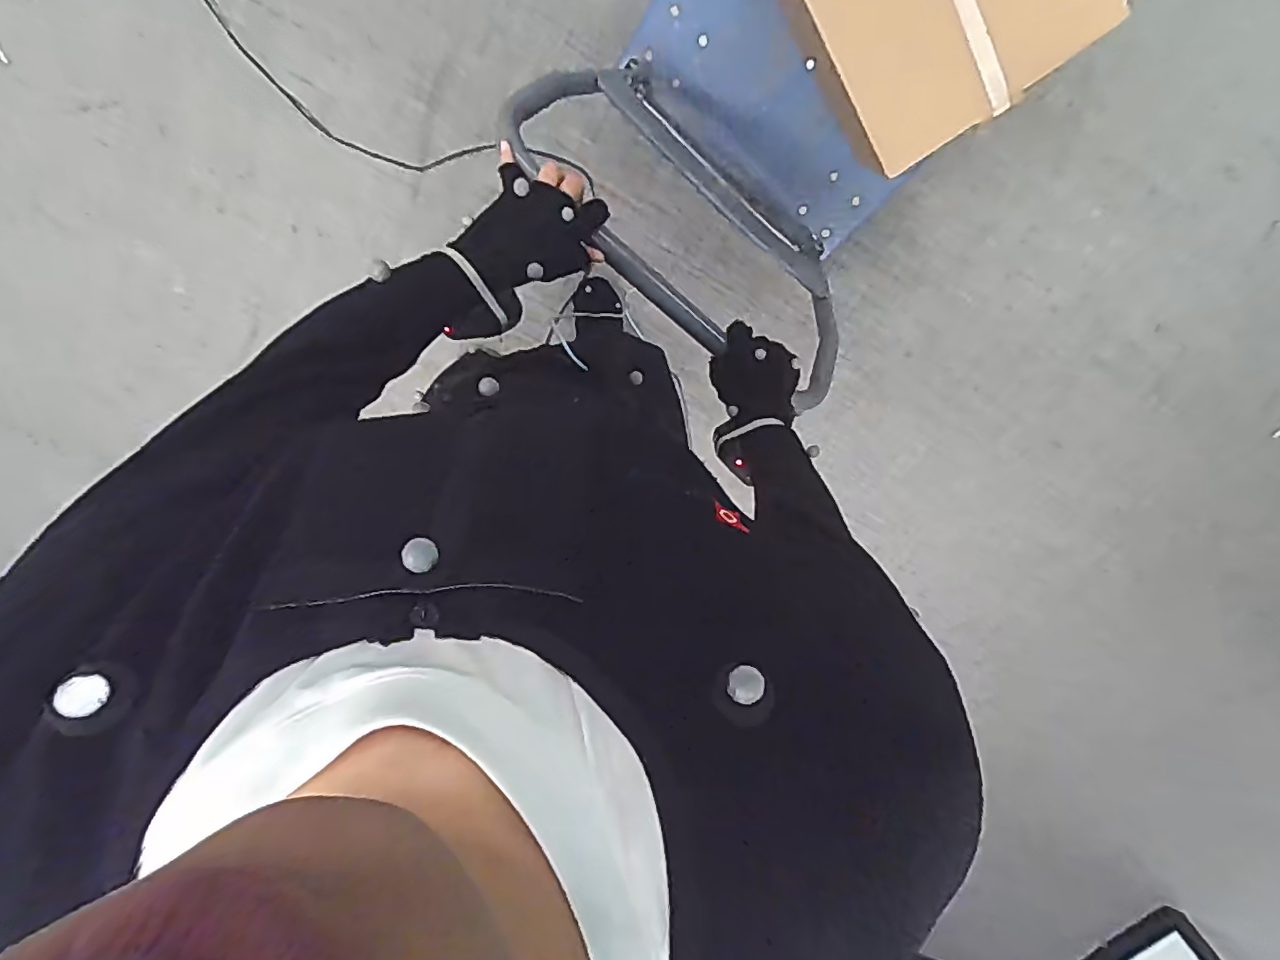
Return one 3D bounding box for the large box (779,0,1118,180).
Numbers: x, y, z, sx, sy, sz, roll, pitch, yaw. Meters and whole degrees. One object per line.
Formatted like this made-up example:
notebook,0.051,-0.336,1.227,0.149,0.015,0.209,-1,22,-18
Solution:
large box,0.407,-0.744,0.811,0.320,0.320,0.408,-27,114,27
